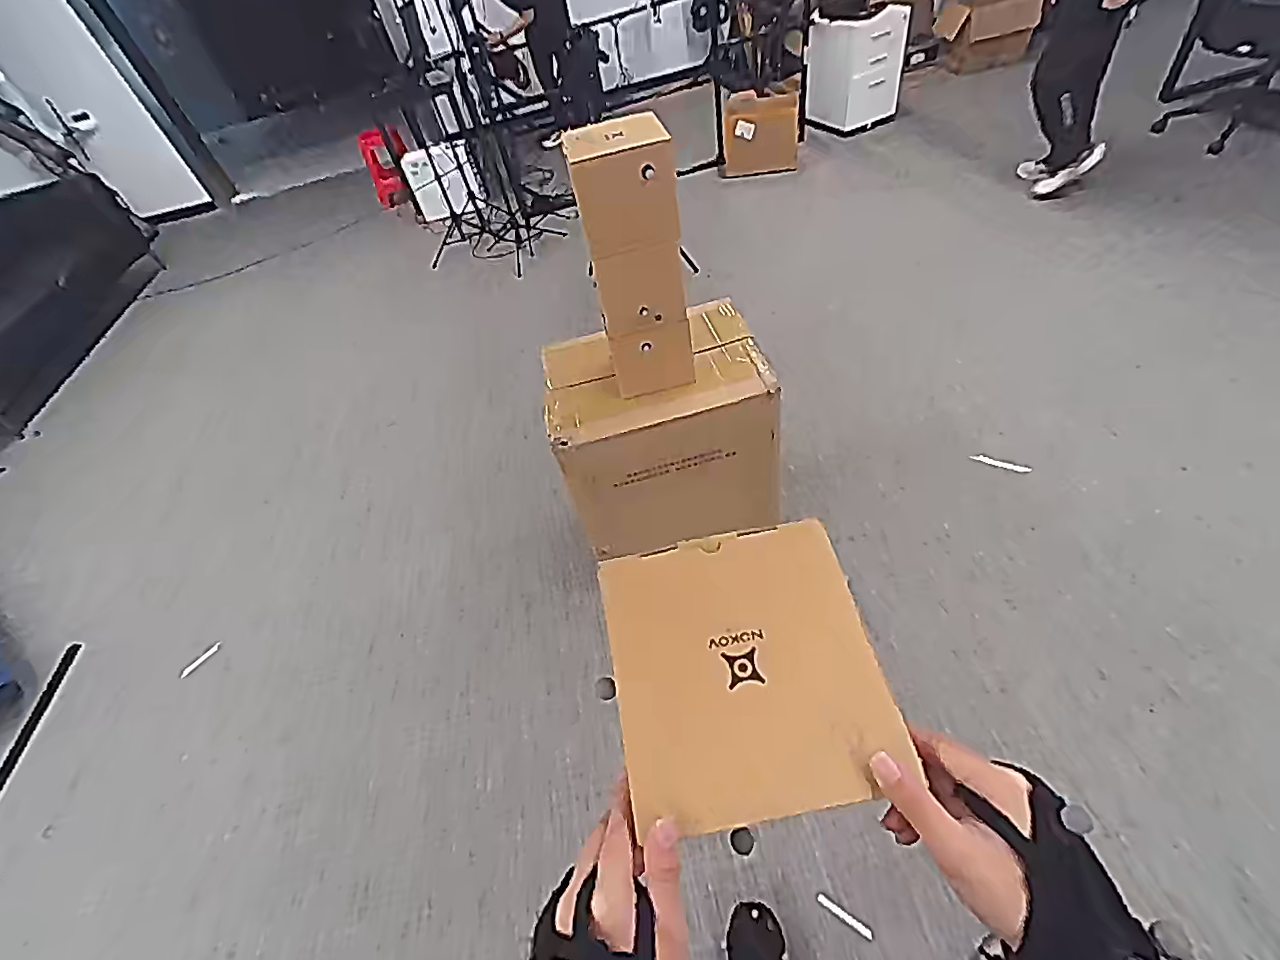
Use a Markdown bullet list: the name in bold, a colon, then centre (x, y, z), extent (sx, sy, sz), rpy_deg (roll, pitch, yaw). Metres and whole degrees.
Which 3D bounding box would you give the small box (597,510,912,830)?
- **small box**: centre (0.071, 0.151, 0.414), extent (0.168, 0.176, 0.179), rpy_deg (-12, 56, 0)

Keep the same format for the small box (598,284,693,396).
- **small box**: centre (0.014, -0.315, 1.235), extent (0.179, 0.176, 0.168), rpy_deg (-14, 47, 0)

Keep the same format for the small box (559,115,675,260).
- **small box**: centre (-0.038, -0.534, 0.994), extent (0.179, 0.176, 0.168), rpy_deg (-15, 47, 0)
